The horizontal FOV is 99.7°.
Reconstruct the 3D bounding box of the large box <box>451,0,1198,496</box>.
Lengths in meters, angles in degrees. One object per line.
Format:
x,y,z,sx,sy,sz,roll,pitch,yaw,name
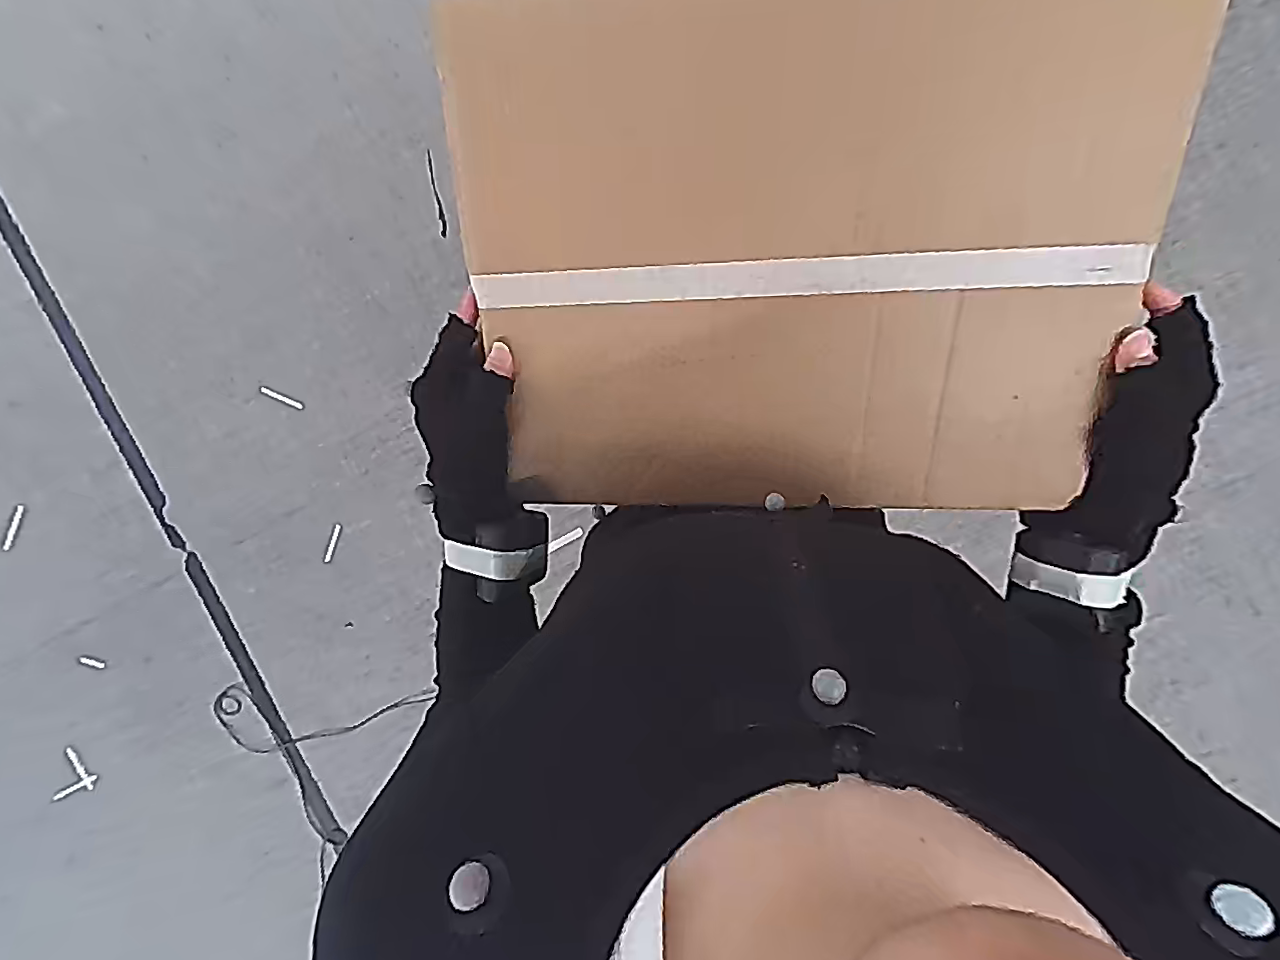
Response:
0.107,-0.187,0.481,0.408,0.320,0.320,1,114,6,large box
